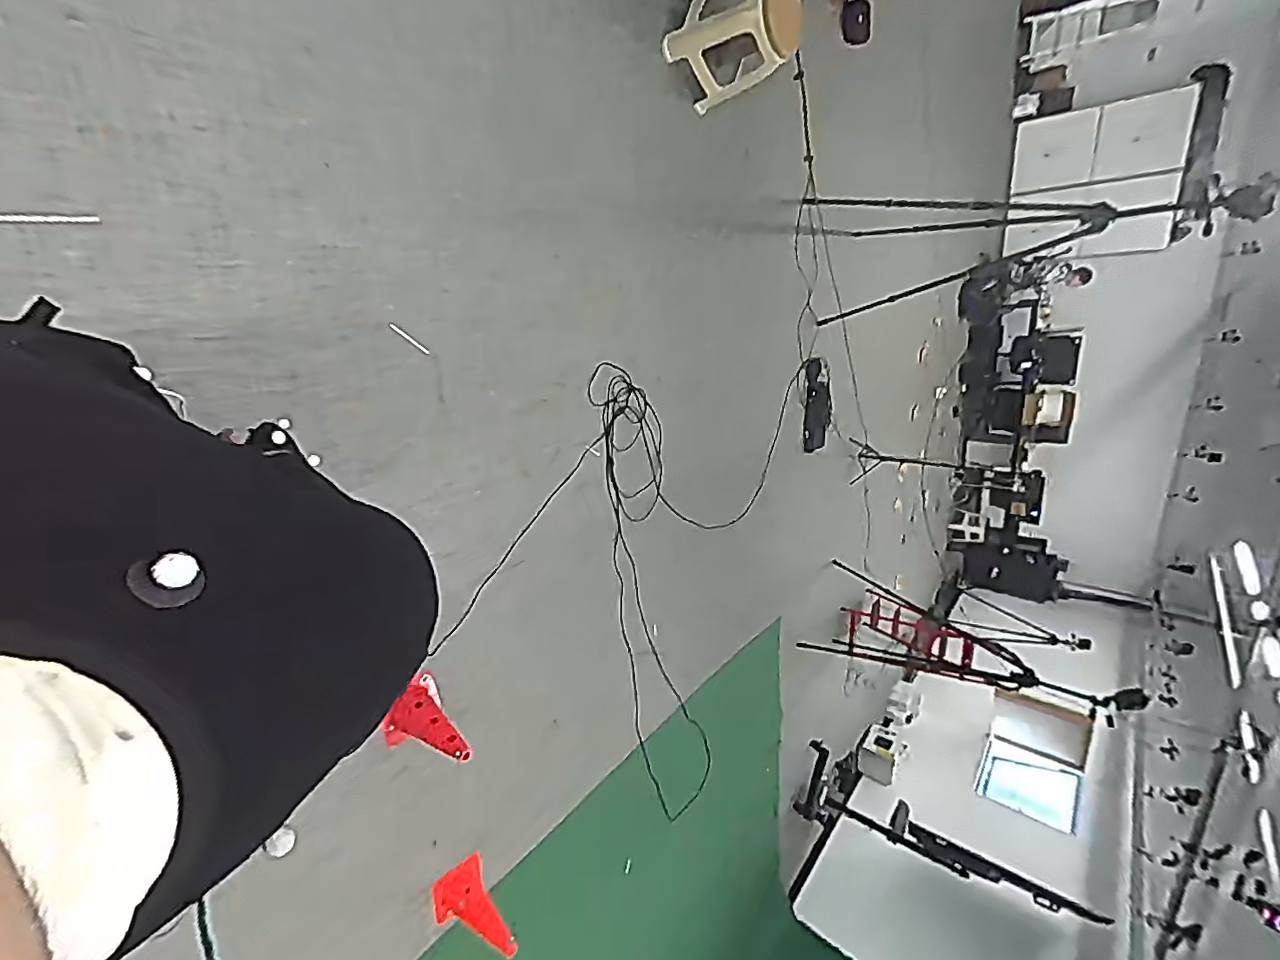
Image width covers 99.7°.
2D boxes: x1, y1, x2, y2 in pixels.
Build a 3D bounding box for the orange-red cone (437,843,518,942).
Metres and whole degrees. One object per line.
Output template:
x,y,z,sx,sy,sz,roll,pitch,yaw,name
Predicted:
-0.581,1.594,2.032,0.199,0.360,0.198,-15,111,-48,orange-red cone
